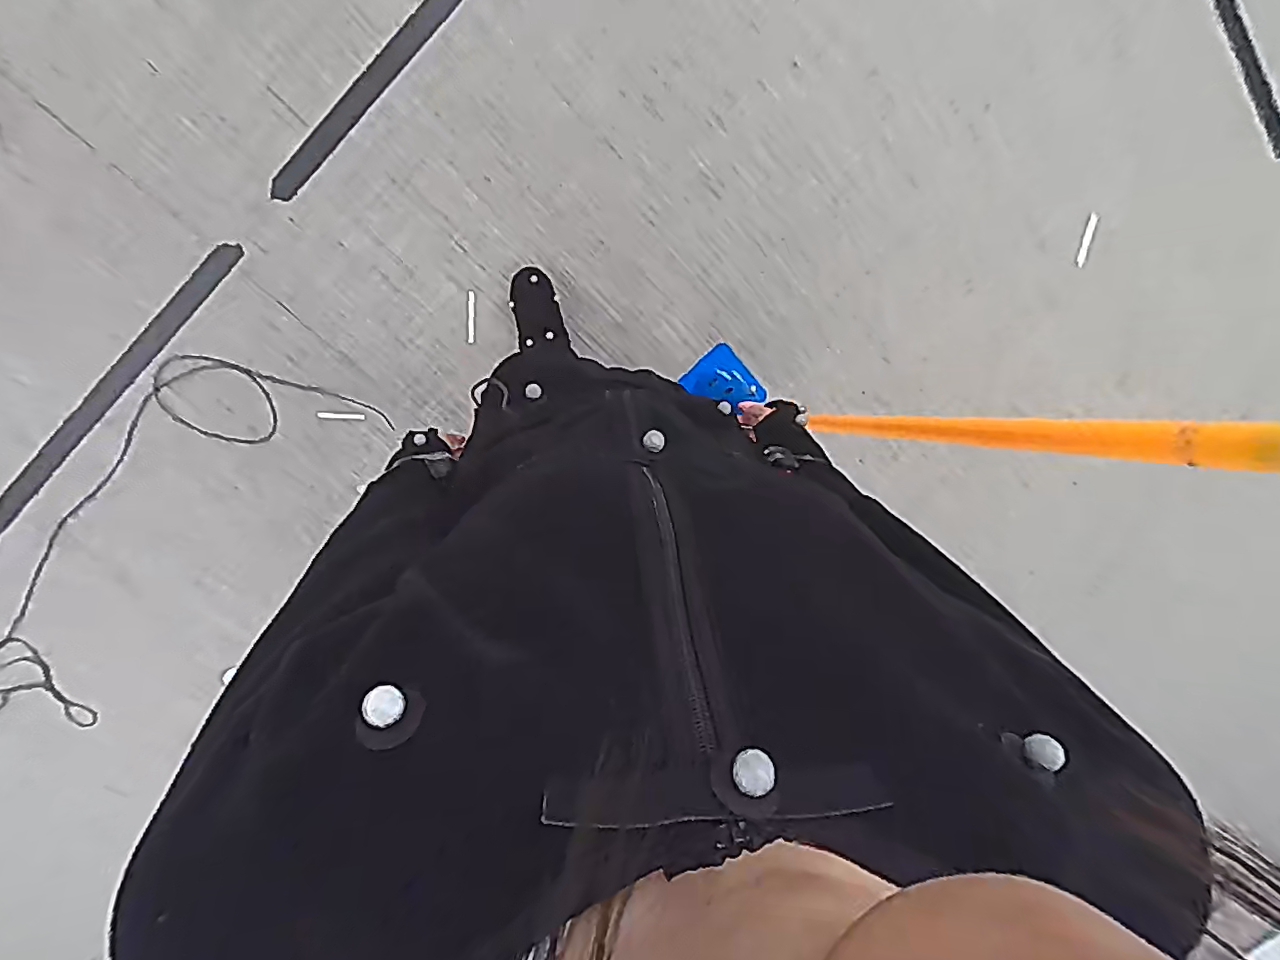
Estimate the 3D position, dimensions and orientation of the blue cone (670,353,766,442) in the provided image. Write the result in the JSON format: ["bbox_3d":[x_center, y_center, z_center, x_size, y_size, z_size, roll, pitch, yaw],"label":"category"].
[{"bbox_3d":[0.218,-0.163,1.246,0.192,0.380,0.193,-41,108,7],"label":"blue cone"}]
